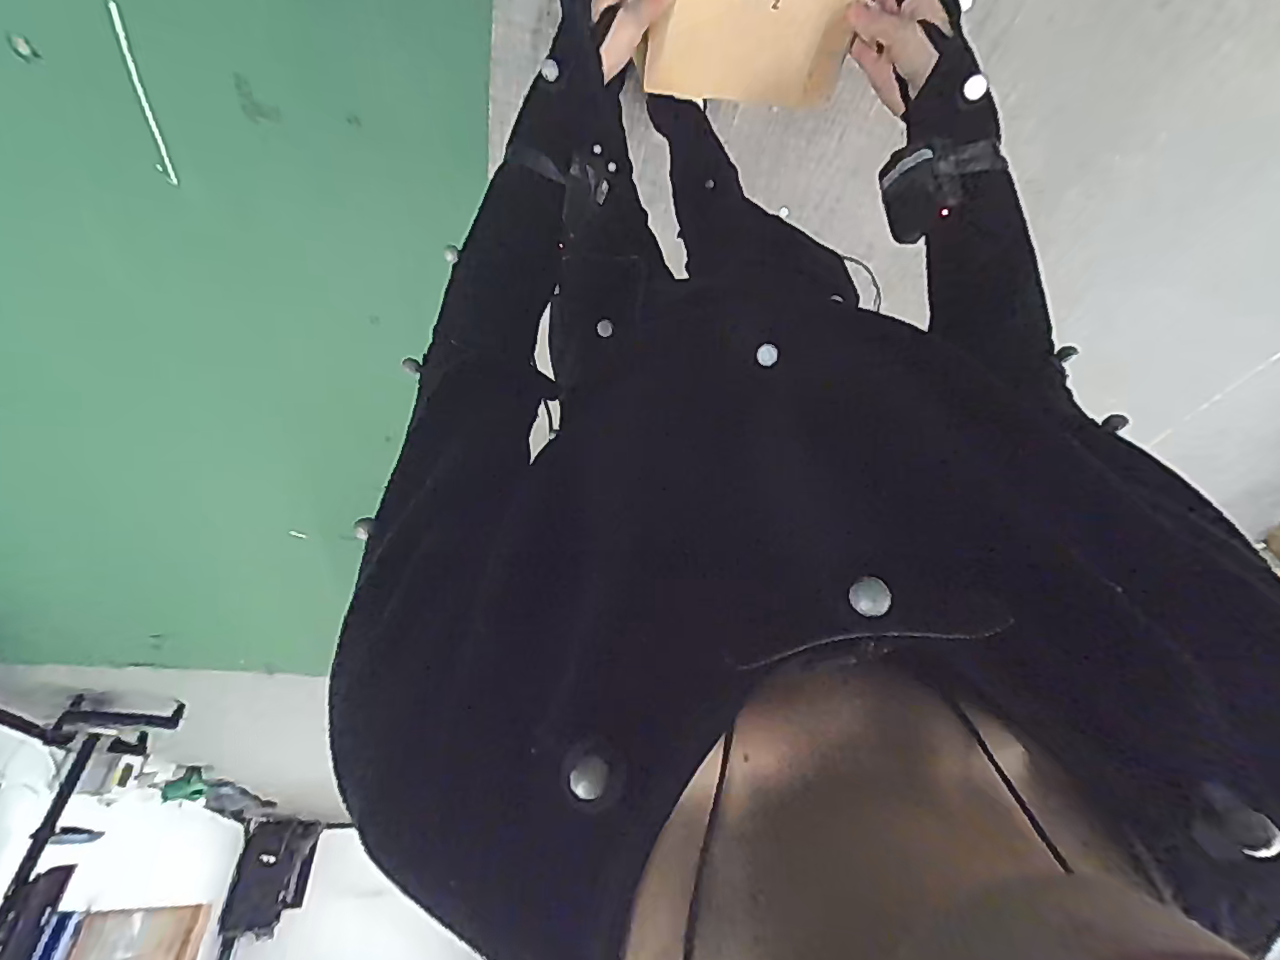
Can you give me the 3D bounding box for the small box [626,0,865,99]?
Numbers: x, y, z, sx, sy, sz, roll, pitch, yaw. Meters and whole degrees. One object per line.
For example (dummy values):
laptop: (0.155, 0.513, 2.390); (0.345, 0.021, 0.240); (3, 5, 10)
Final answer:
small box: (0.087, -0.452, 0.458); (0.179, 0.176, 0.168); (-2, 140, -10)
